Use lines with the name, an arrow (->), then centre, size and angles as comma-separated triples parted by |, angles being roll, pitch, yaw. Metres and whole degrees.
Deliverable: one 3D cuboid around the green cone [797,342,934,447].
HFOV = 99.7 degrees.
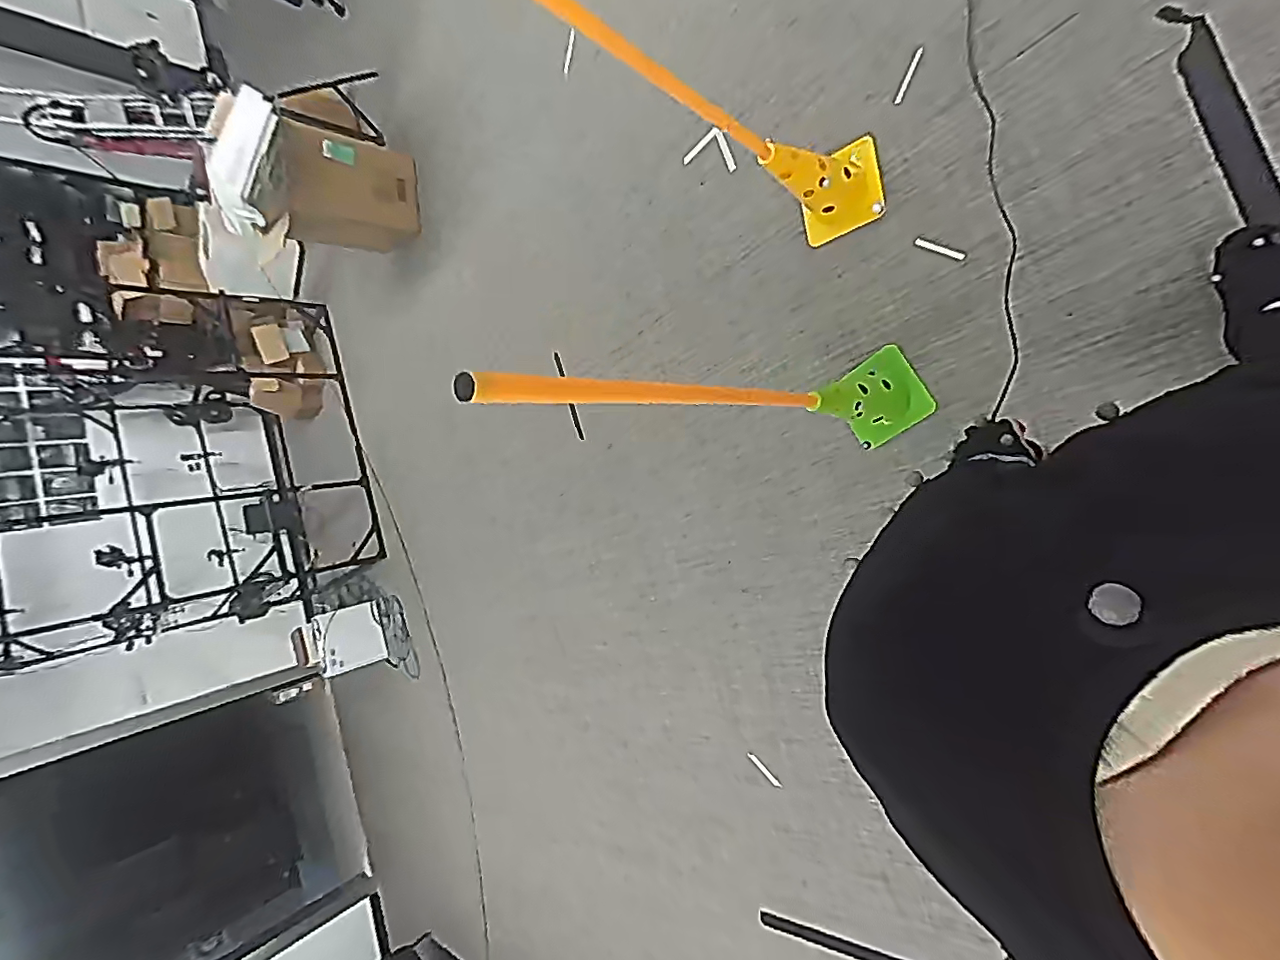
green cone -> 0.466, -0.188, 1.211 | 0.200, 0.368, 0.202 | -41, 67, 41
